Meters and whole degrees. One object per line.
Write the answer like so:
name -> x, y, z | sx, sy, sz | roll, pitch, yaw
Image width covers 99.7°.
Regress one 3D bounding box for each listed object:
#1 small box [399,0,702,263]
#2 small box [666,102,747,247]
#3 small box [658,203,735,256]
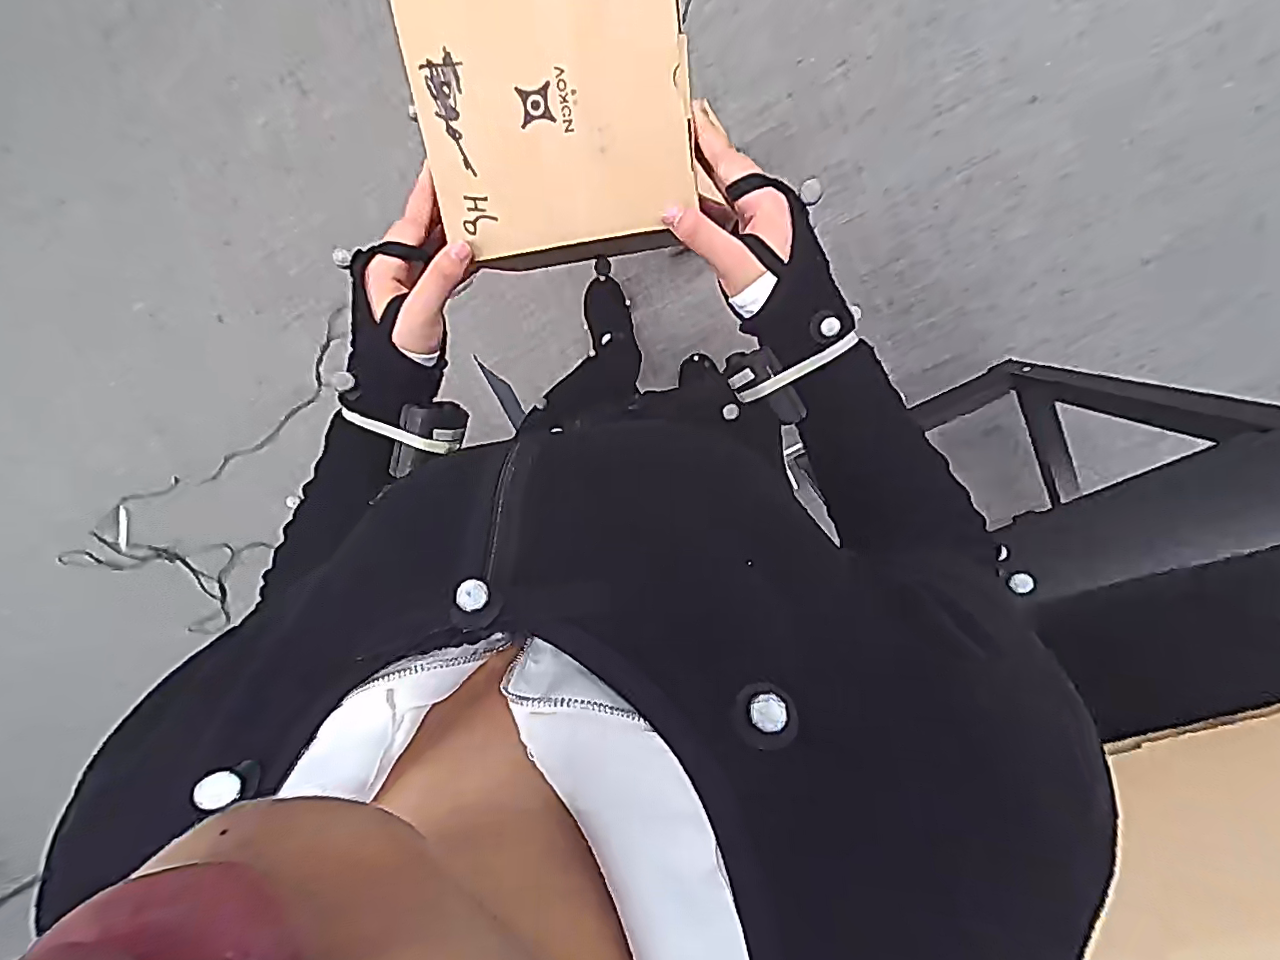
small box -> -0.051, -0.271, 0.420 | 0.179, 0.176, 0.168 | -7, 107, 6
small box -> 0.089, -0.587, 1.070 | 0.179, 0.176, 0.168 | -32, 104, 12
small box -> 0.094, -0.633, 1.227 | 0.179, 0.176, 0.168 | -29, 103, 13
